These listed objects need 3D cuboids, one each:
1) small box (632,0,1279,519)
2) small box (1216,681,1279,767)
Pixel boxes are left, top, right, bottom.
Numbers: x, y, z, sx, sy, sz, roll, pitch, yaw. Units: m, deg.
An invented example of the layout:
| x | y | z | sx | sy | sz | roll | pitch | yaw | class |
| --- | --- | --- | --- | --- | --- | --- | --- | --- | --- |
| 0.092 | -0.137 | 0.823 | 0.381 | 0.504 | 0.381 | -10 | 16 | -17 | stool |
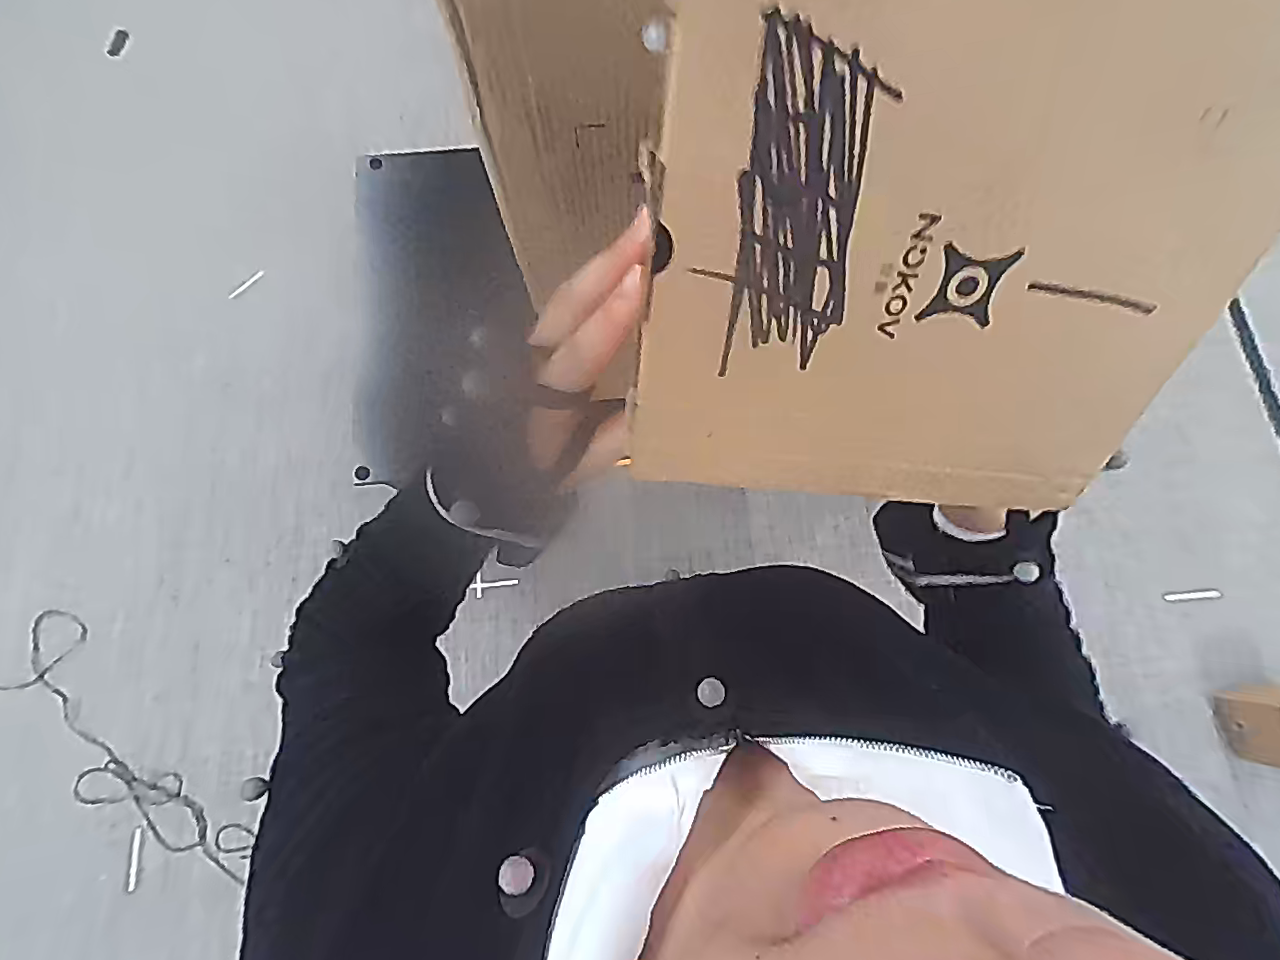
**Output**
| x | y | z | sx | sy | sz | roll | pitch | yaw | class |
| --- | --- | --- | --- | --- | --- | --- | --- | --- | --- |
| 0.097 | -0.108 | 0.226 | 0.179 | 0.168 | 0.176 | 7 | 37 | -1 | small box |
| 1.639 | 0.616 | 1.359 | 0.179 | 0.176 | 0.168 | -13 | 77 | -2 | small box |
